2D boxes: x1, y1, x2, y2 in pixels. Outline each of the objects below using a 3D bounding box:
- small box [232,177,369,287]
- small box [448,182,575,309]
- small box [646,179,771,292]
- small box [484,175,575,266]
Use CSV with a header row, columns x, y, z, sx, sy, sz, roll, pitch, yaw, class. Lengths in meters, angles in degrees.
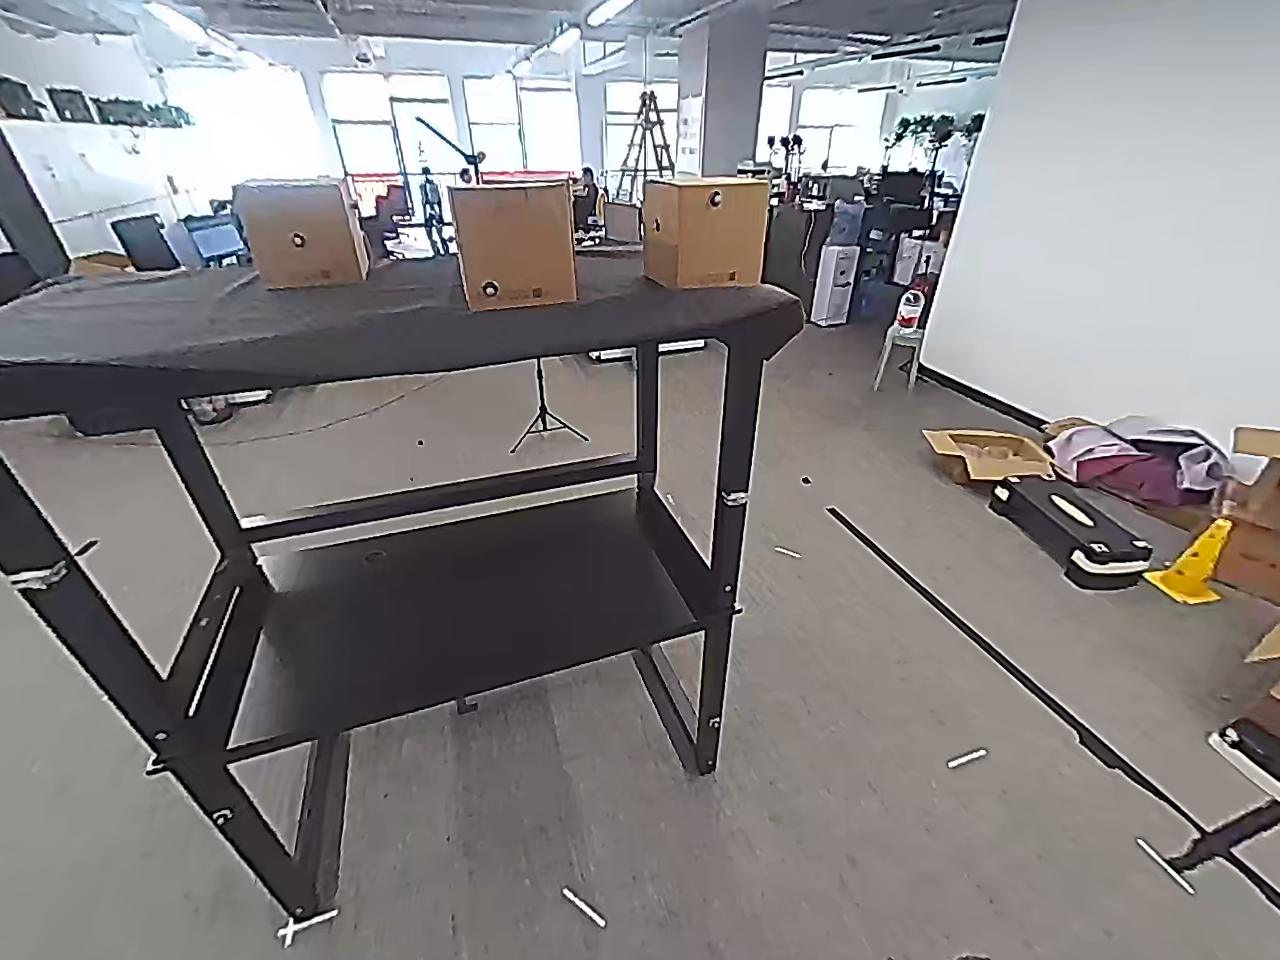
x,y,z,sx,sy,sz,roll,pitch,yaw,class
-0.617,-0.462,1.009,0.168,0.176,0.179,-10,34,-17,small box
-0.206,-0.376,0.868,0.168,0.176,0.179,-11,31,-16,small box
0.113,-0.441,0.970,0.168,0.176,0.179,-12,33,-16,small box
-0.231,-0.539,1.135,0.168,0.176,0.179,-7,32,-12,small box
